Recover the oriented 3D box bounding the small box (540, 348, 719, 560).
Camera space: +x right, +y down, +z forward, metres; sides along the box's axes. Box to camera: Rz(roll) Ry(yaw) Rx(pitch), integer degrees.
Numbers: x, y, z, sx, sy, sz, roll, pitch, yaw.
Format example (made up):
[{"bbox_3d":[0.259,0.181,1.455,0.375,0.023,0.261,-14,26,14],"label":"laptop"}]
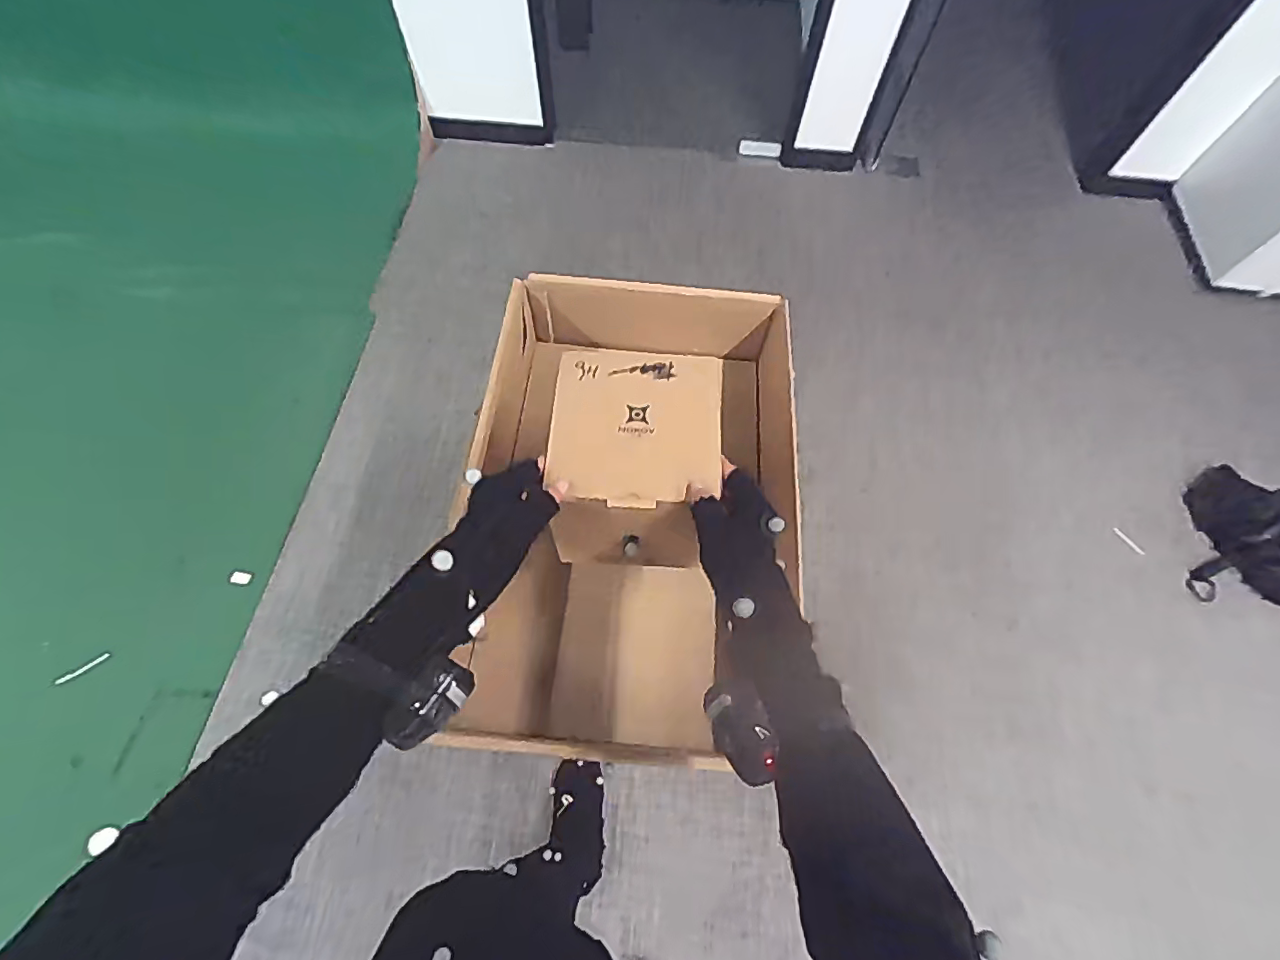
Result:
[{"bbox_3d":[-0.005,-0.020,0.592,0.168,0.176,0.179,3,62,0],"label":"small box"}]
